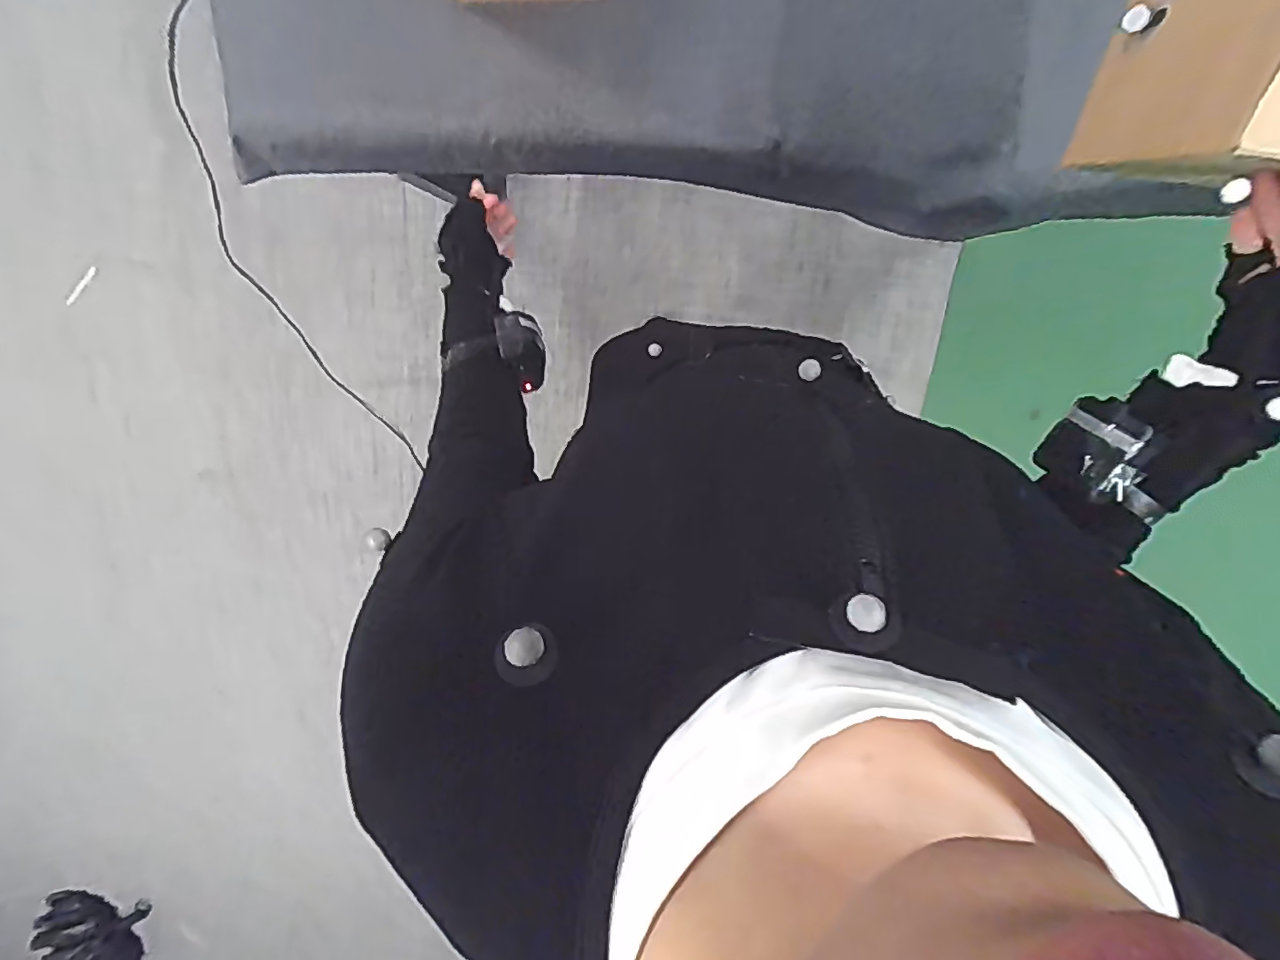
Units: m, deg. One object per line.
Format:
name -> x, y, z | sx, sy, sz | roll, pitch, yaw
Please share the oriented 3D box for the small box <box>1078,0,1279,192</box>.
small box -> 0.422, -0.279, 0.327 | 0.168, 0.176, 0.179 | 8, 119, 2
